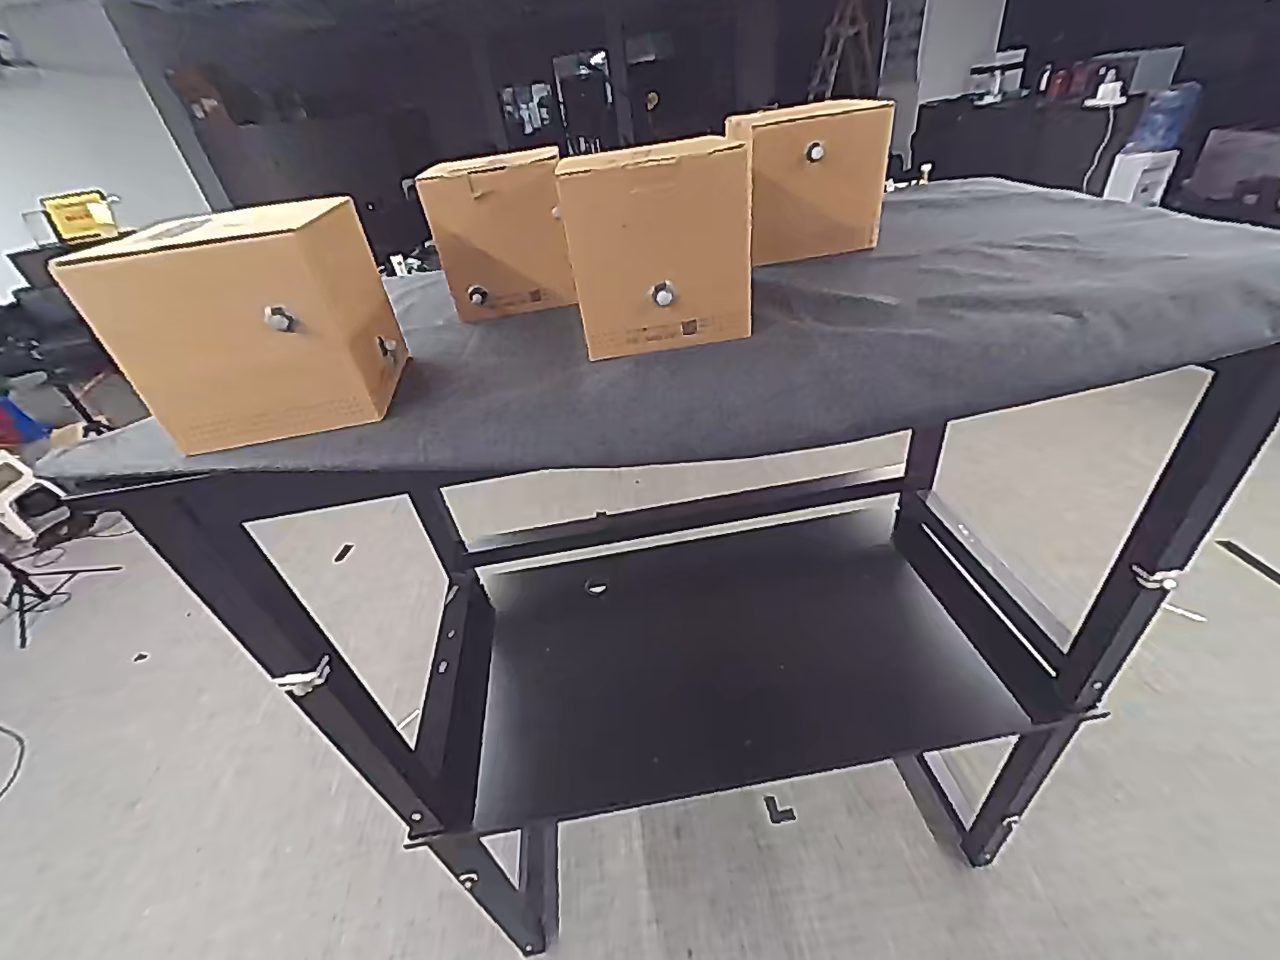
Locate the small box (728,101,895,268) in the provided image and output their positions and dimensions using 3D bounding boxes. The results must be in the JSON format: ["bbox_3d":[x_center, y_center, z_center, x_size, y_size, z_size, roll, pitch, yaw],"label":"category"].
[{"bbox_3d":[0.225,-0.413,0.755,0.179,0.176,0.168,-9,36,2],"label":"small box"}]

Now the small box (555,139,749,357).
[{"bbox_3d":[0.015,-0.244,0.565,0.168,0.176,0.179,-9,35,2],"label":"small box"}]
